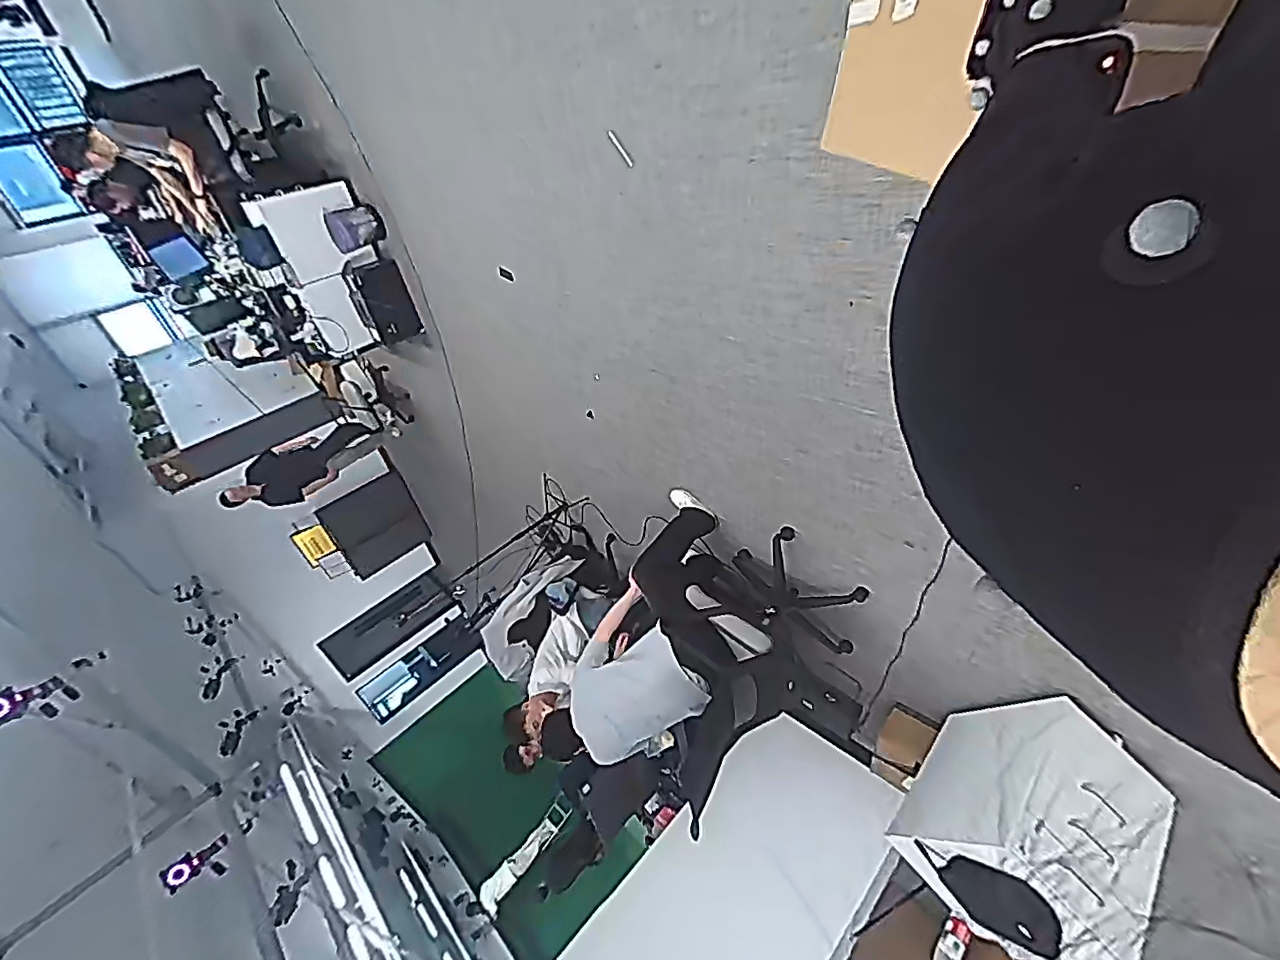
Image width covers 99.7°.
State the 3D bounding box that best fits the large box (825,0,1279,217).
[{"bbox_3d":[0.521,-0.567,0.695,0.320,0.408,0.320,54,152,39],"label":"large box"}]
